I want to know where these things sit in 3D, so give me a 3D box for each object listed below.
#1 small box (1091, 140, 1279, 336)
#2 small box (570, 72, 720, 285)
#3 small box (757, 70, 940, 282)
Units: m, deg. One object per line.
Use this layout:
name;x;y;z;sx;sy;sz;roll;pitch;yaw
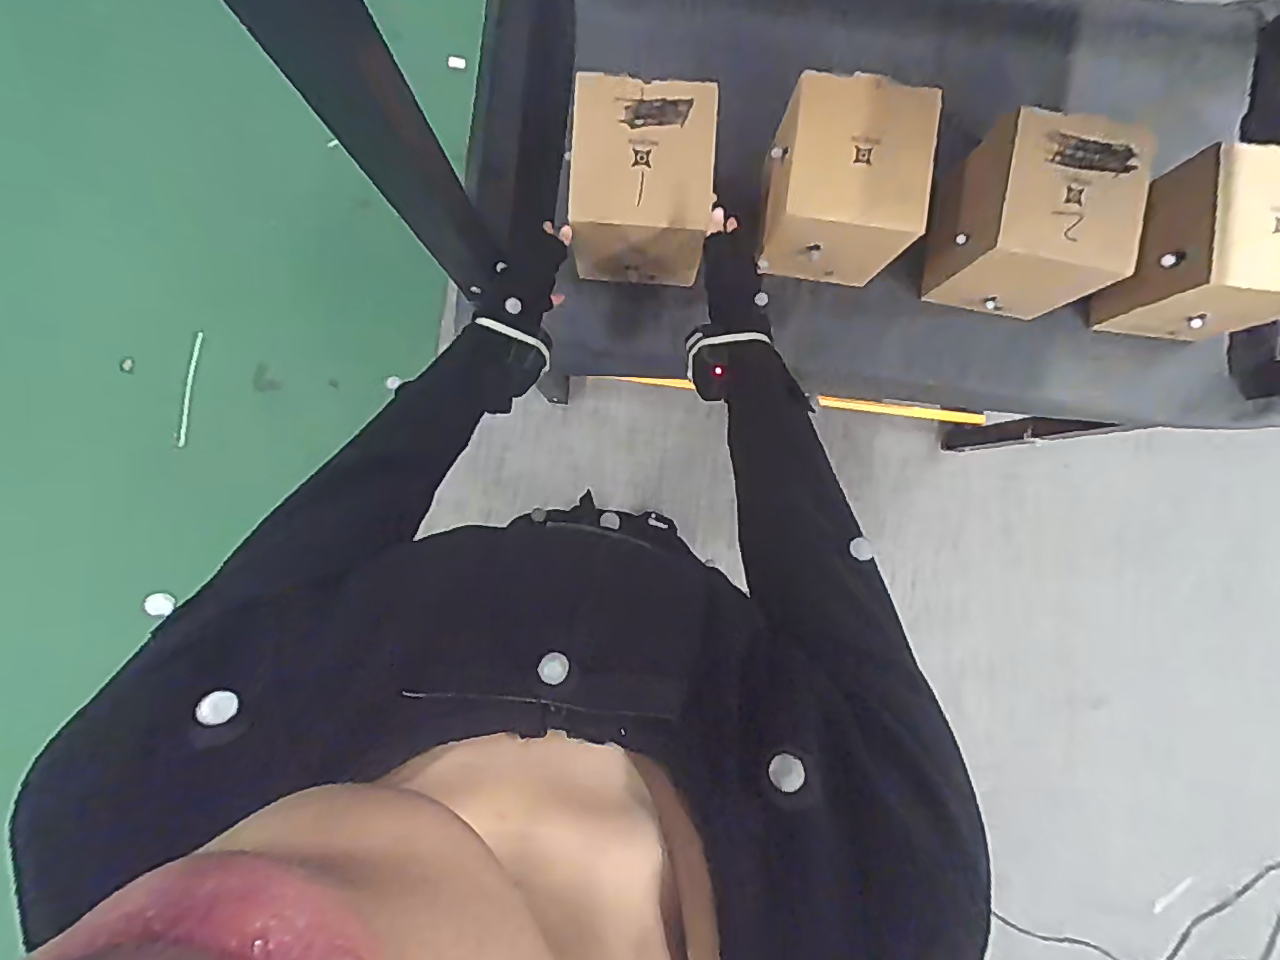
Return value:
small box;0.745;-0.303;0.713;0.168;0.176;0.179;7;87;-1
small box;0.004;-0.375;0.700;0.168;0.176;0.179;3;89;-1
small box;0.258;-0.380;0.708;0.168;0.176;0.179;7;88;-1
